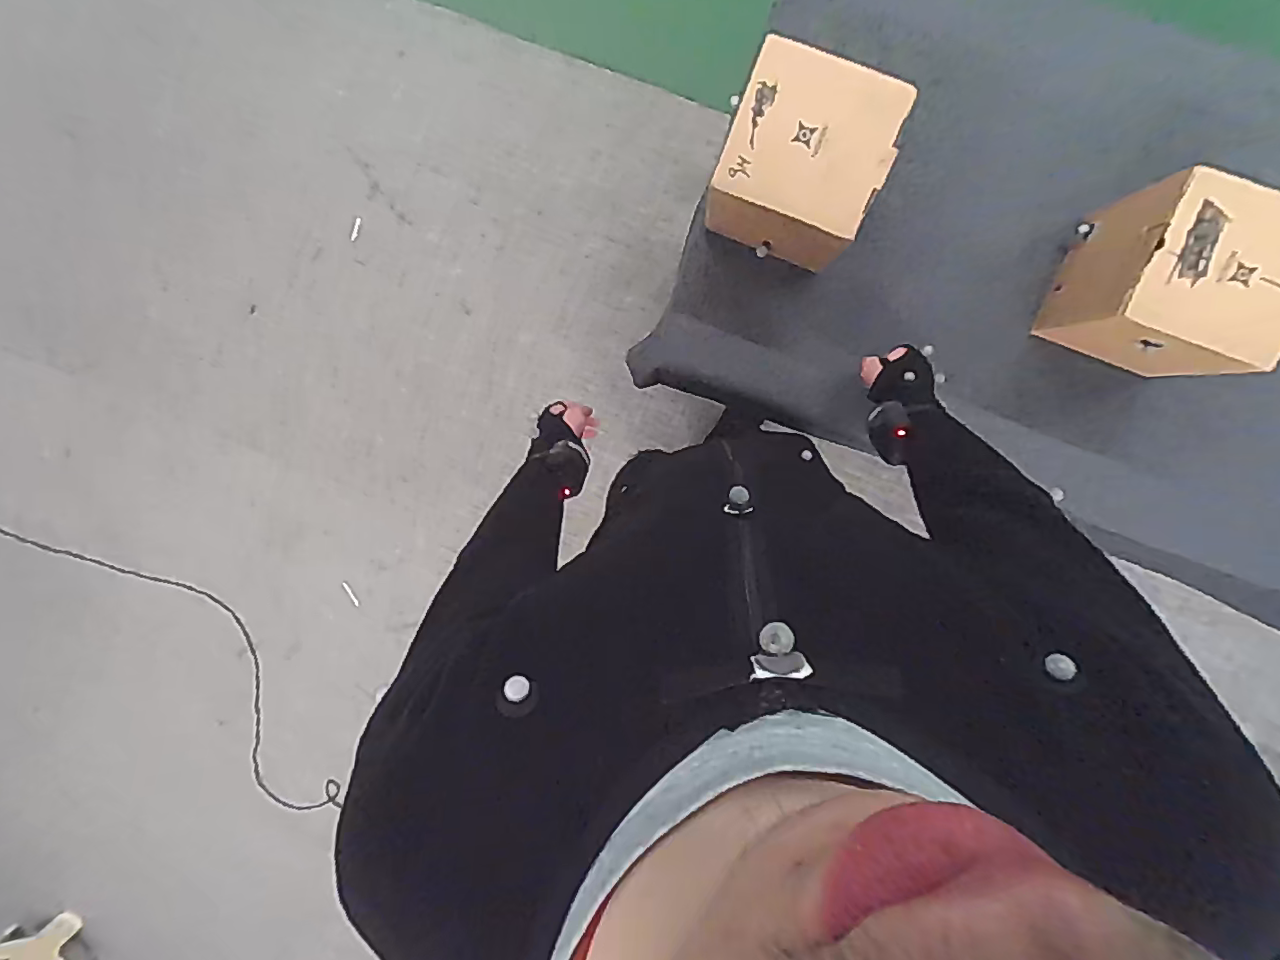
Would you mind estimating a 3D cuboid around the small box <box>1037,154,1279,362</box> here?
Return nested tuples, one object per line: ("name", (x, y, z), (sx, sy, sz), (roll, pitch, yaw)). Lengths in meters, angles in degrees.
("small box", (0.633, -0.244, 0.643), (0.179, 0.176, 0.168), (21, 102, 0))

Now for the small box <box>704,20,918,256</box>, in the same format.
("small box", (0.190, -0.393, 0.661), (0.179, 0.176, 0.168), (22, 102, 0))
